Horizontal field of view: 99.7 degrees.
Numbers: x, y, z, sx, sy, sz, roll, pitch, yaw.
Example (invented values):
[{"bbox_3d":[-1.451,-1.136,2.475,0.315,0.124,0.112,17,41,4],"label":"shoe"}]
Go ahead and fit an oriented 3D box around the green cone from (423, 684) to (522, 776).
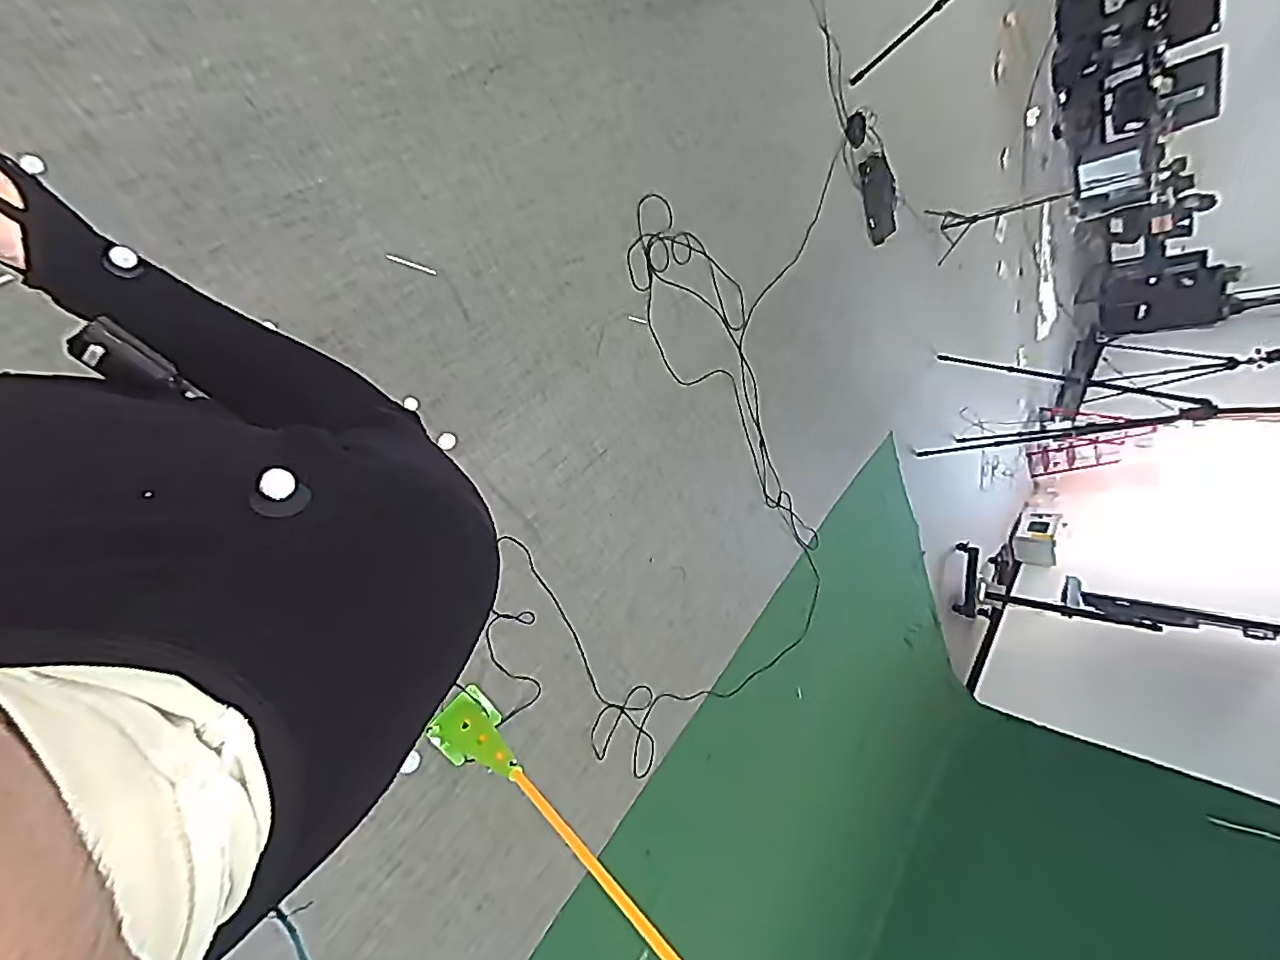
[{"bbox_3d":[-0.477,0.820,1.672,0.202,0.368,0.200,-45,122,-31],"label":"green cone"}]
